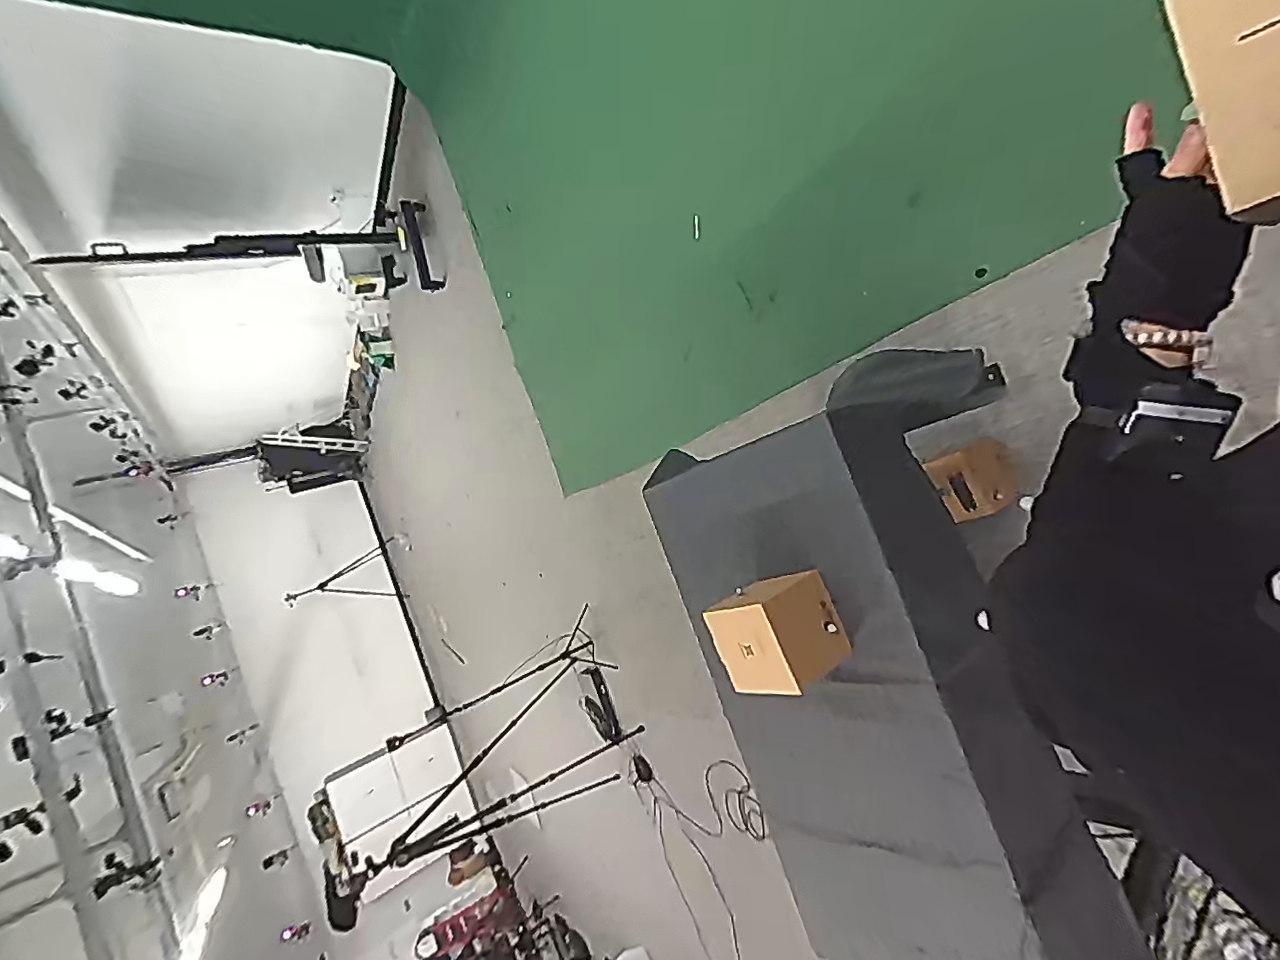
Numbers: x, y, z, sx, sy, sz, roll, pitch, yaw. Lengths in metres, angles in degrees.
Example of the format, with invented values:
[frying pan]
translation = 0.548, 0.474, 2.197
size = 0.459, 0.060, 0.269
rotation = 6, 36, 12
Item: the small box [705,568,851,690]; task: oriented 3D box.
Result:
[small box]
translation = 0.264, 0.283, 1.037
size = 0.179, 0.176, 0.168
rotation = -31, 81, 55
